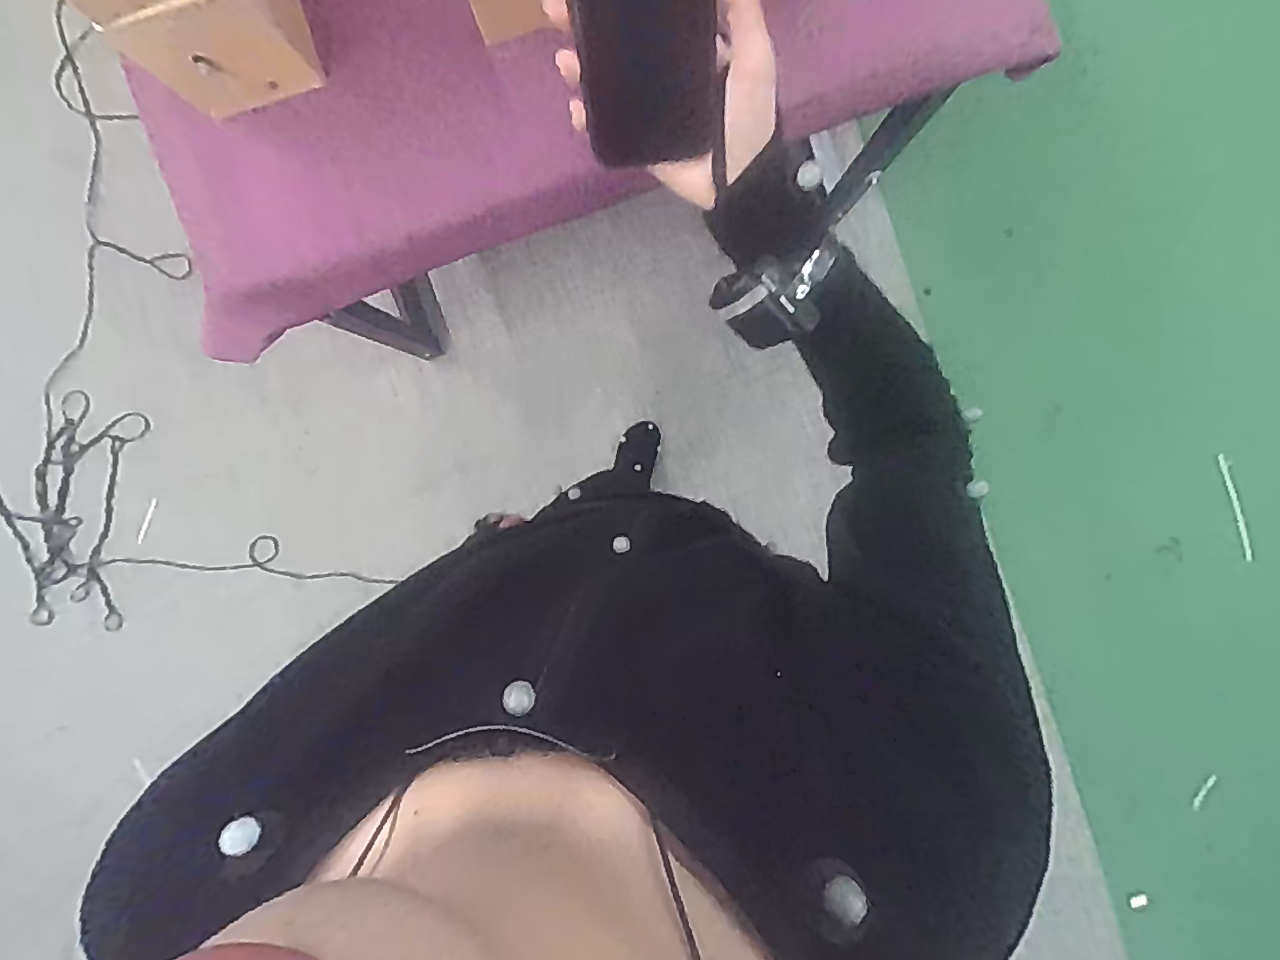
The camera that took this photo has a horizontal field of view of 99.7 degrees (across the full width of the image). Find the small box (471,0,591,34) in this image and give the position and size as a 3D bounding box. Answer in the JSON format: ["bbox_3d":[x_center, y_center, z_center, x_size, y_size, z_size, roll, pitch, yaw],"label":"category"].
[{"bbox_3d":[-0.146,-0.685,0.633,0.179,0.176,0.168,-17,93,2],"label":"small box"}]

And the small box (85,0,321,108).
[{"bbox_3d":[-0.525,-0.588,0.648,0.168,0.176,0.179,-17,93,2],"label":"small box"}]
